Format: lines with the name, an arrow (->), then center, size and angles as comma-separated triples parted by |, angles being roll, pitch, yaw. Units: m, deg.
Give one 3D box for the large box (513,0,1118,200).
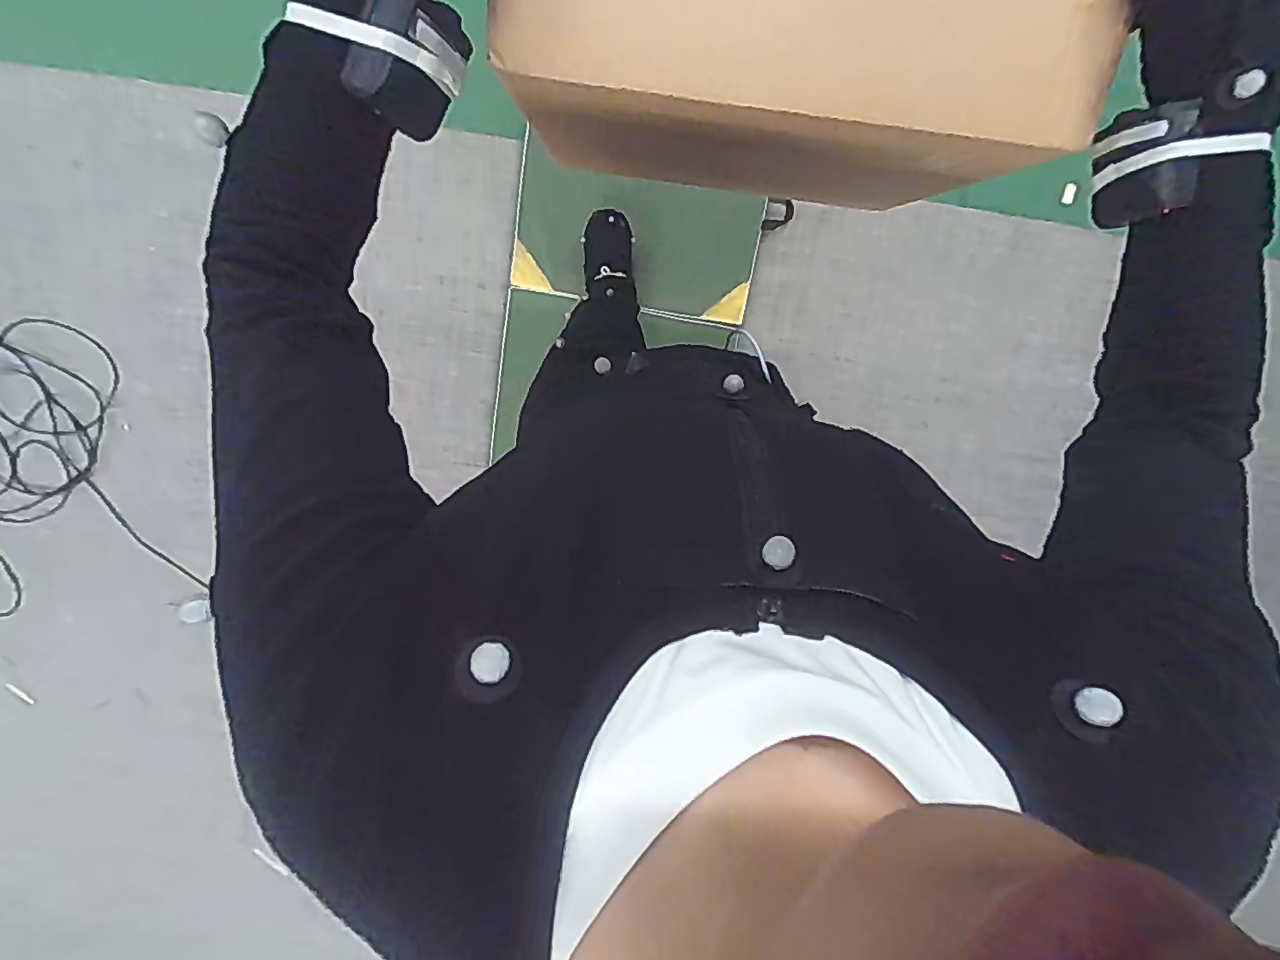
large box -> 0.120, -0.450, 0.461 | 0.408, 0.320, 0.320 | 5, 110, -4
